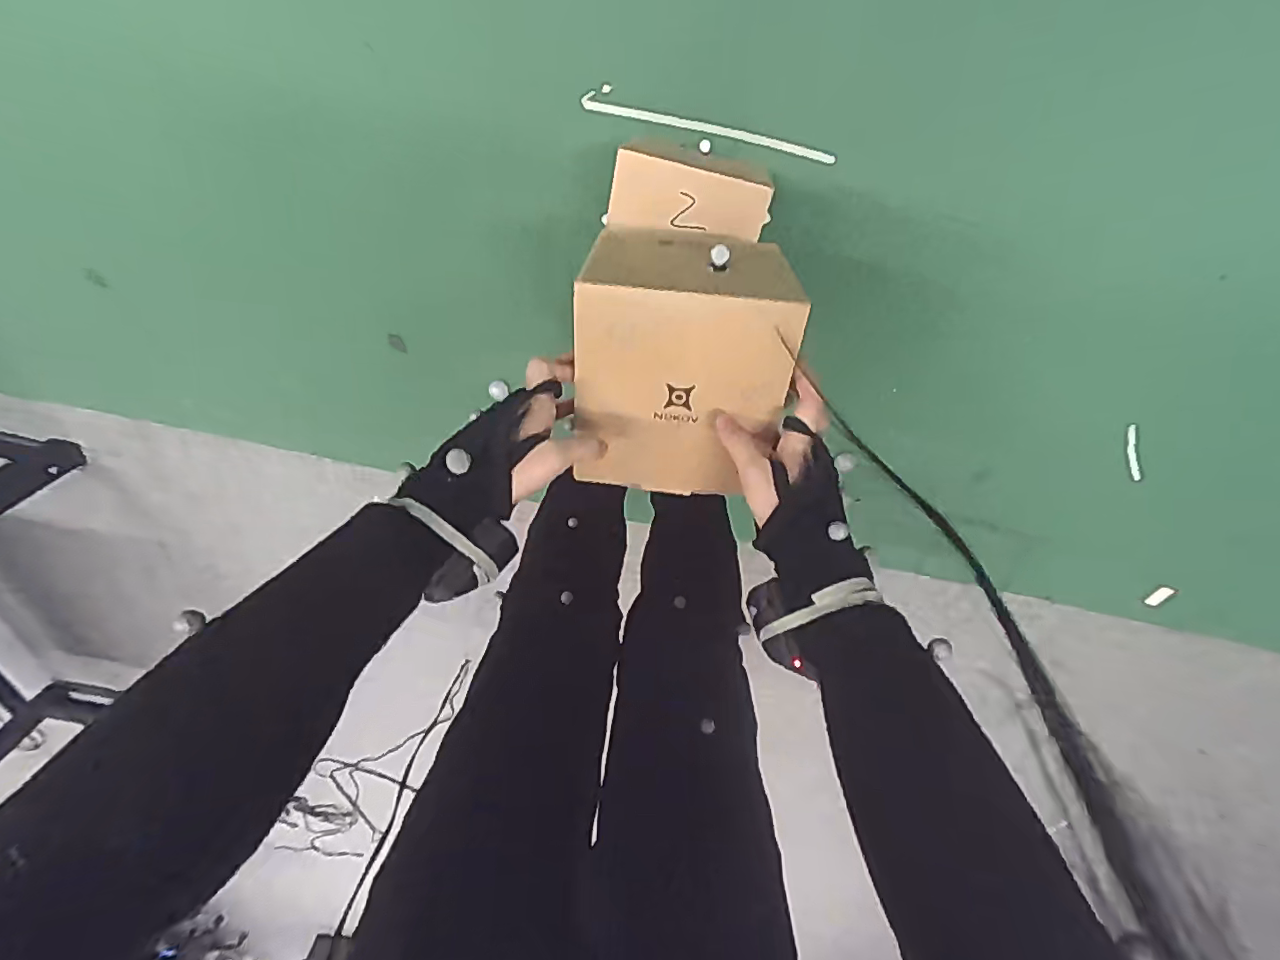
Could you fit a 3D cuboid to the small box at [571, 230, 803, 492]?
[{"bbox_3d":[0.031,-0.114,0.488,0.168,0.176,0.179,5,127,1],"label":"small box"}]
